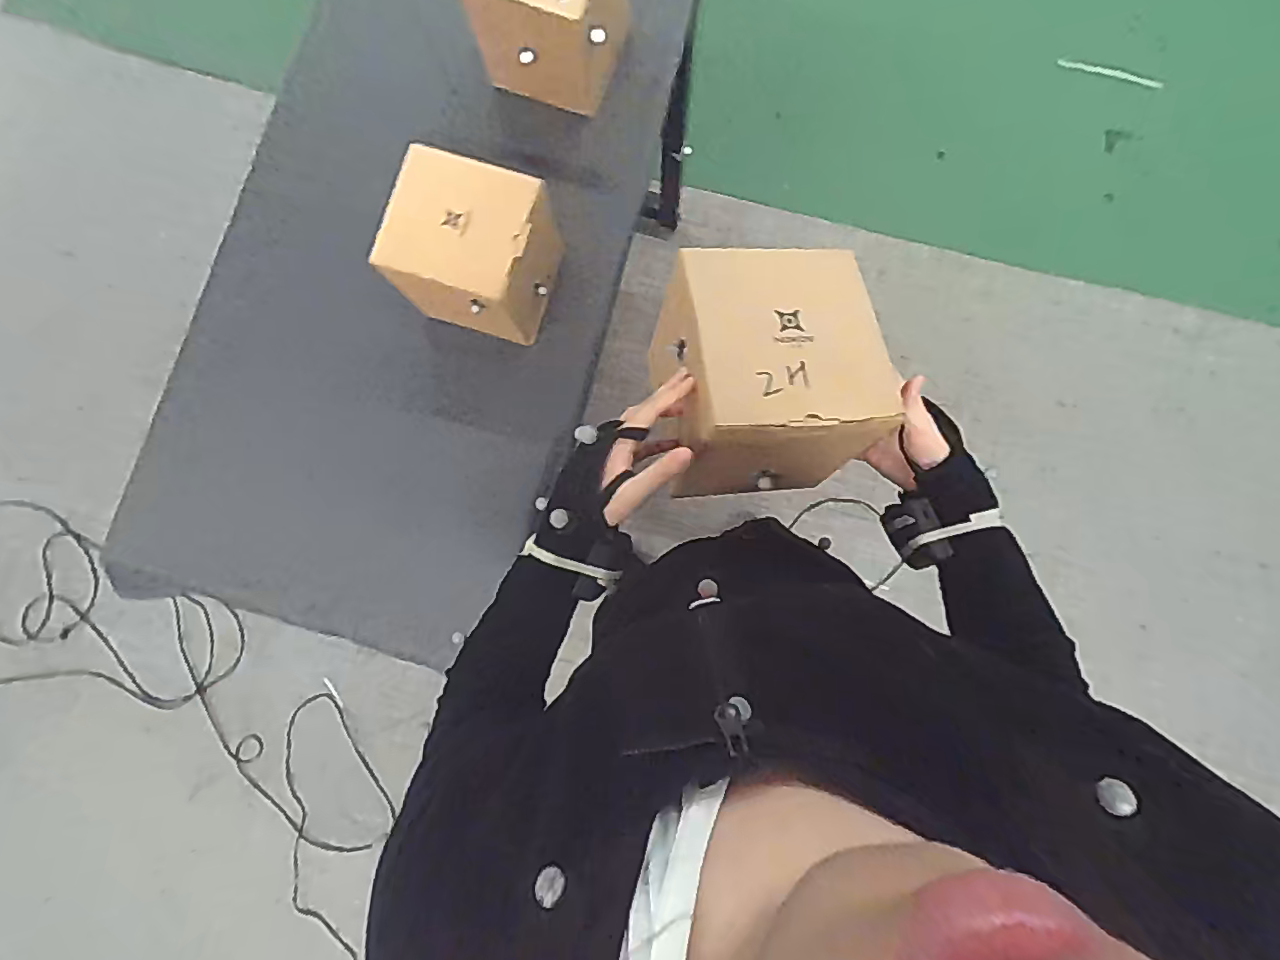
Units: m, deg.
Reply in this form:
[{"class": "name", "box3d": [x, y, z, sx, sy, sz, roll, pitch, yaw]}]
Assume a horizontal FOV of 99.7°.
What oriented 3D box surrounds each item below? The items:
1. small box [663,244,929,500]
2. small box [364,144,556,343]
[{"class": "small box", "box3d": [0.127, -0.094, 0.517, 0.168, 0.176, 0.179, -4, 69, -13]}, {"class": "small box", "box3d": [-0.229, -0.306, 0.736, 0.179, 0.176, 0.168, 16, 84, 1]}]
